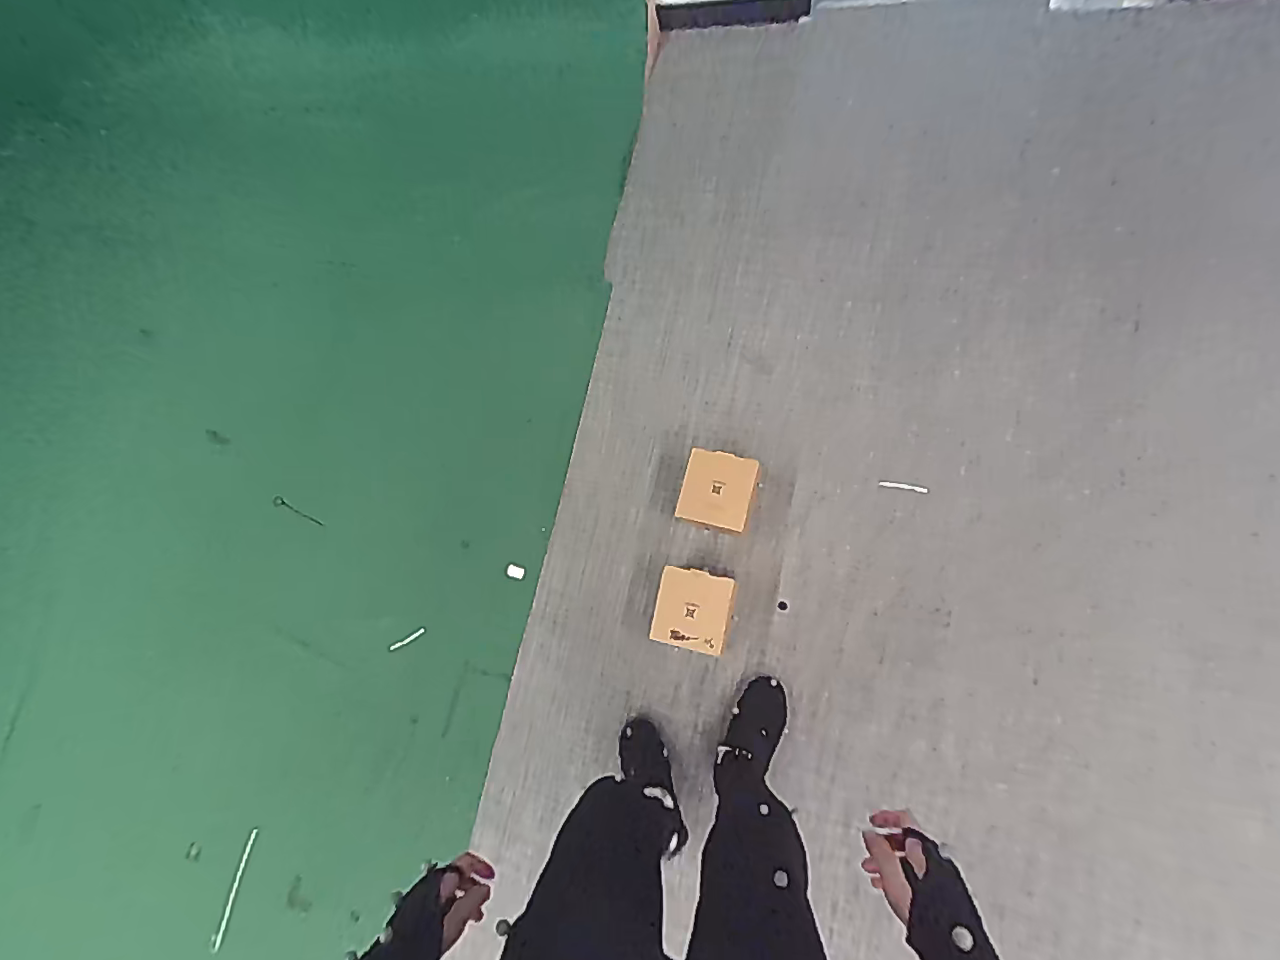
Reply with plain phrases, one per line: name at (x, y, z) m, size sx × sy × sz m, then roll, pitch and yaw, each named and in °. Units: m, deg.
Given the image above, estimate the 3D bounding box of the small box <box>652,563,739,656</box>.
small box at (0.141, 0.309, 1.297) m, size 0.168 × 0.176 × 0.179 m, roll 10°, pitch 80°, yaw 16°
